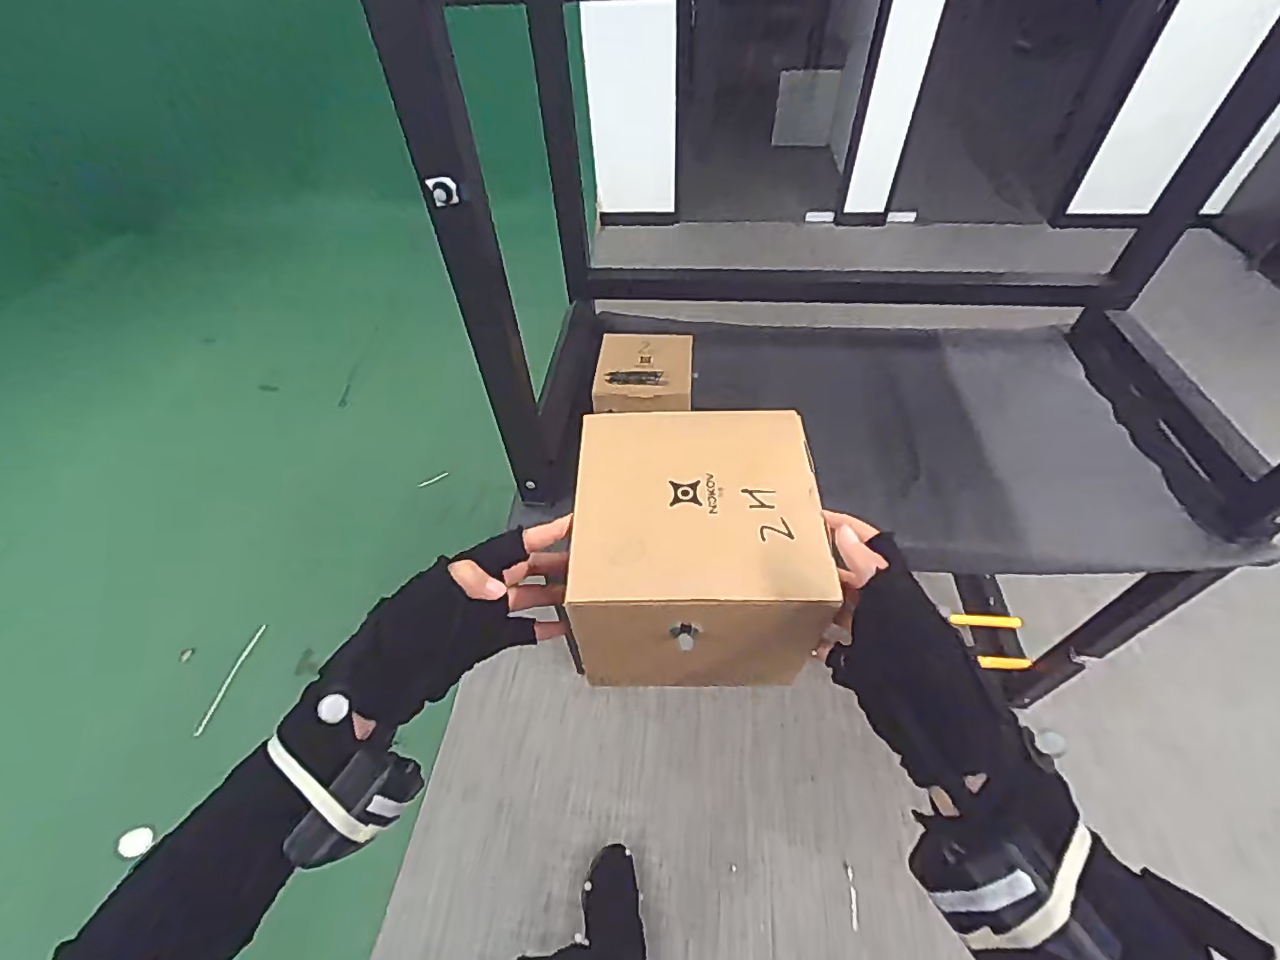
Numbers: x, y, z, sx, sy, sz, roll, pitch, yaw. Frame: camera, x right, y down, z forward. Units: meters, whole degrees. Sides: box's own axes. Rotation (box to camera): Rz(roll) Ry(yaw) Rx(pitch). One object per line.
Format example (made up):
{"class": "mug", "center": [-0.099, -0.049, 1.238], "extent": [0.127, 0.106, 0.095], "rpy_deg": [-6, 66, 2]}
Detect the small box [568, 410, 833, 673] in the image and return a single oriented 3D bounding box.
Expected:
{"class": "small box", "center": [0.042, 0.058, 0.461], "extent": [0.179, 0.176, 0.168], "rpy_deg": [0, 53, 1]}
